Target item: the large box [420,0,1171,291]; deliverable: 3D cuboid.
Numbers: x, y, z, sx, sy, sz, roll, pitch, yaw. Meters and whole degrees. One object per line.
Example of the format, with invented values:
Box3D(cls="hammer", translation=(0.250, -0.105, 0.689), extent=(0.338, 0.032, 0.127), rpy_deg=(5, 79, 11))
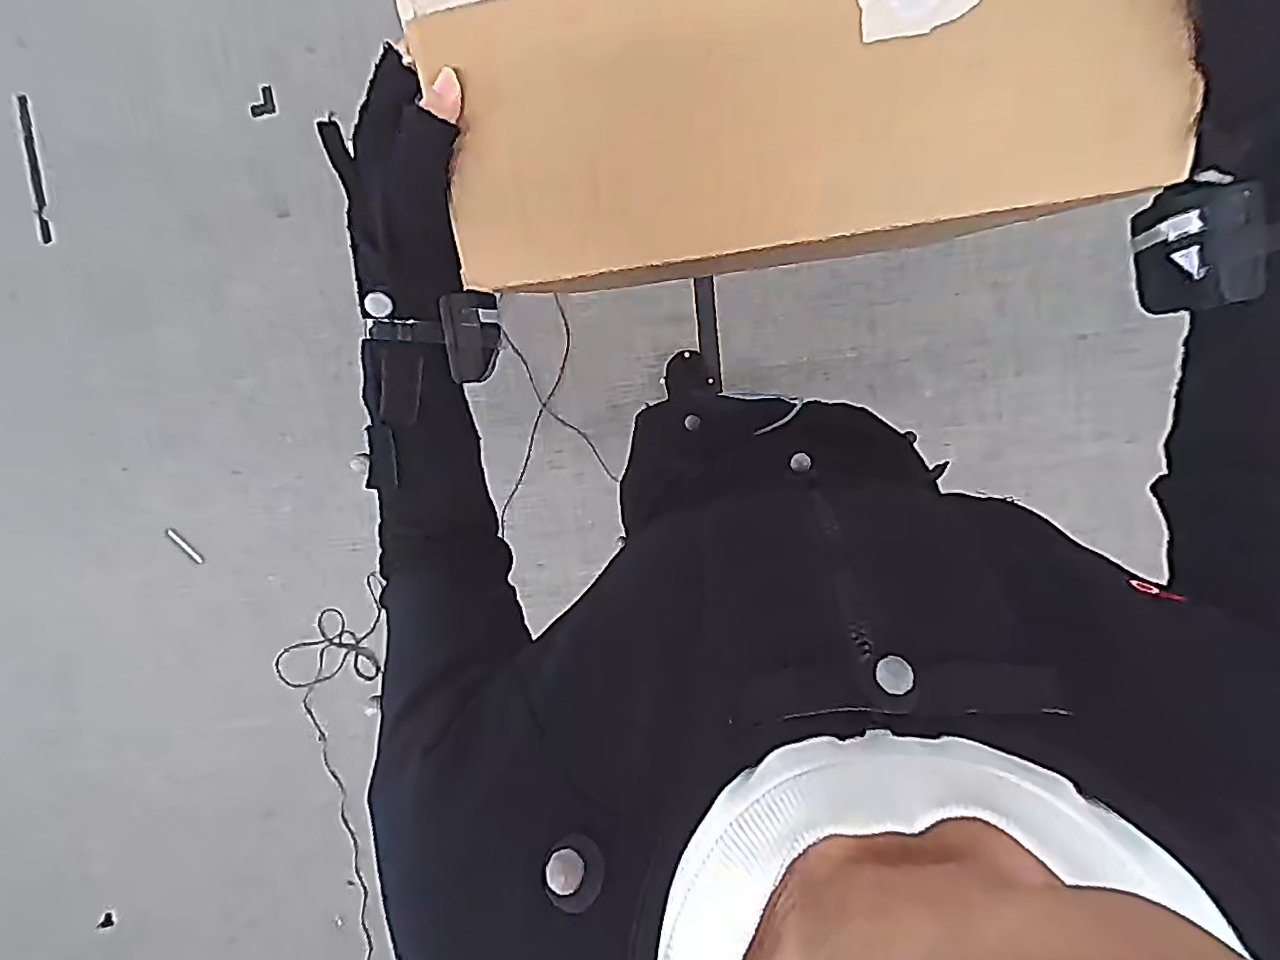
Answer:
Box3D(cls="large box", translation=(0.080, -0.343, 0.425), extent=(0.408, 0.320, 0.320), rpy_deg=(-6, 108, 8))
